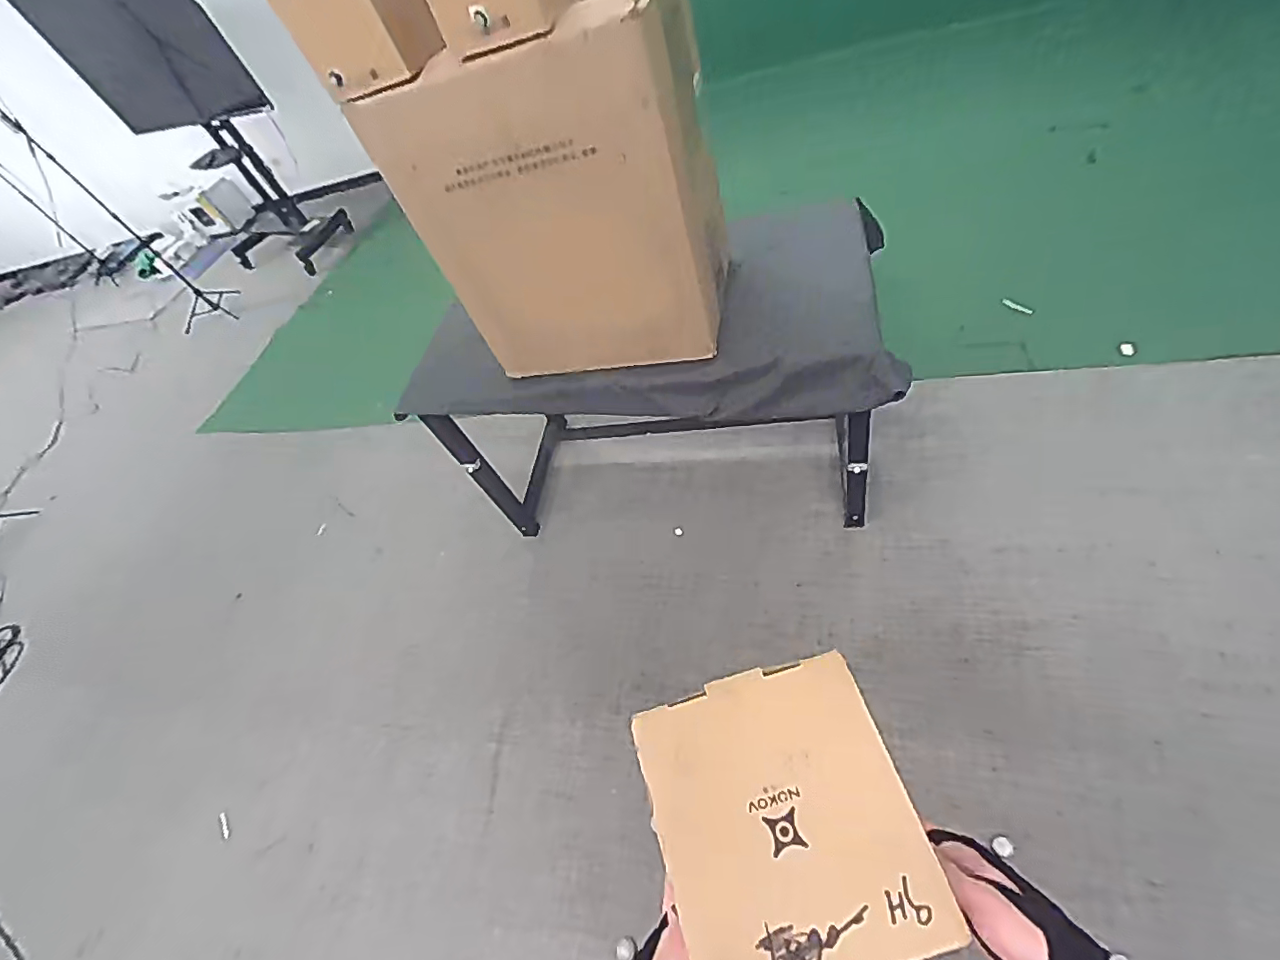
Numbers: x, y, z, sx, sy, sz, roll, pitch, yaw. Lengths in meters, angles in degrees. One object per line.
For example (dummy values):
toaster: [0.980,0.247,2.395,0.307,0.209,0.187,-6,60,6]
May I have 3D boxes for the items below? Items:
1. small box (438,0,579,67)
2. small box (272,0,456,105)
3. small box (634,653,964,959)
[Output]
small box: [-0.203,-0.749,0.792,0.168,0.176,0.179,-2,55,20]
small box: [-0.430,-0.739,0.871,0.168,0.176,0.179,-1,53,21]
small box: [0.105,0.262,0.426,0.168,0.176,0.179,-18,58,2]
